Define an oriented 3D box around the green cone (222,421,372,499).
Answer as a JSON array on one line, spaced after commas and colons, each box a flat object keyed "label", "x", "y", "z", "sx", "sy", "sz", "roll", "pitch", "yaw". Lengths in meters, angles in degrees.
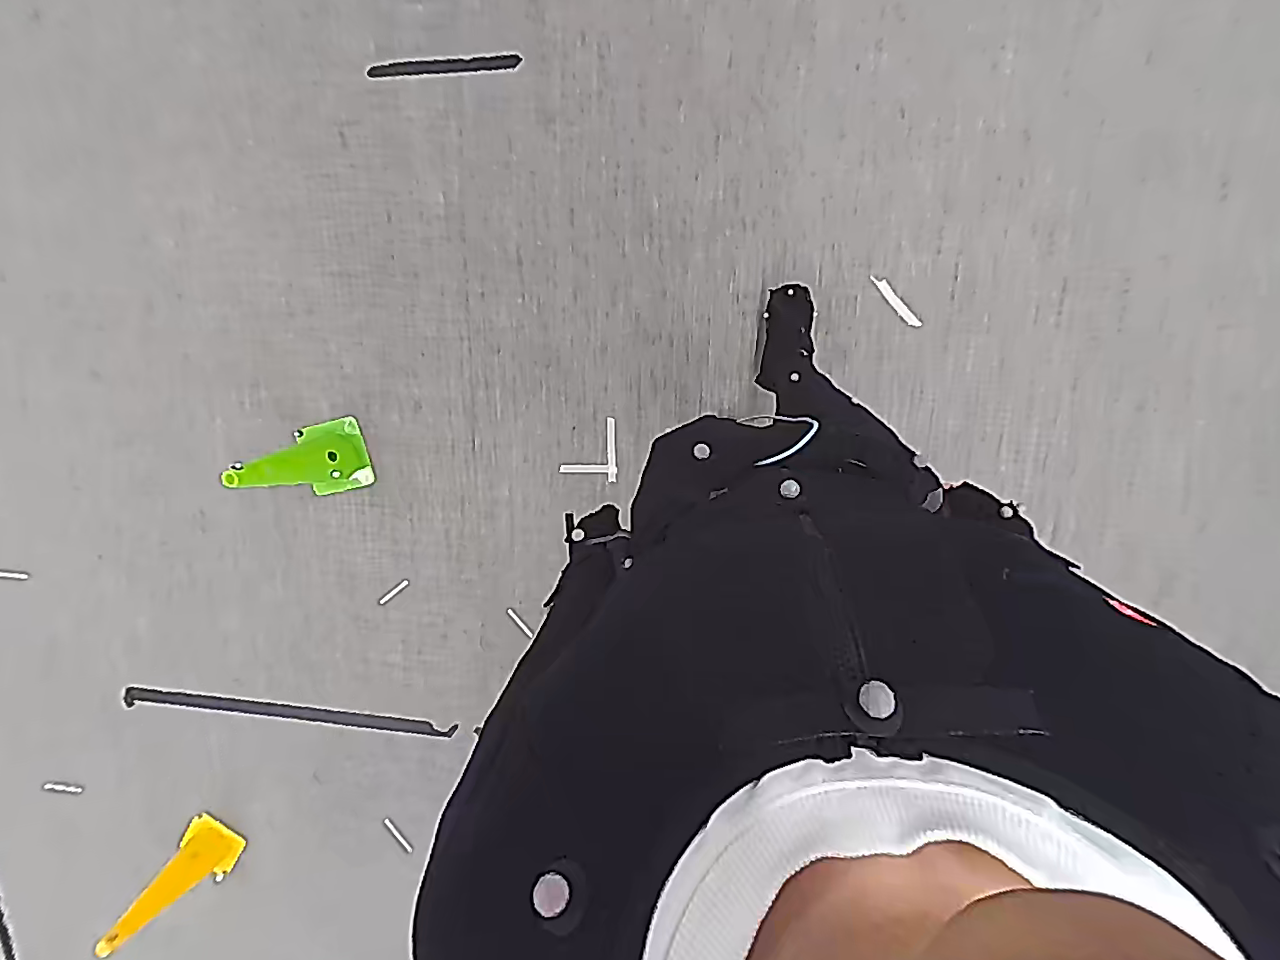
[{"label": "green cone", "x": -0.896, "y": -0.023, "z": 1.376, "sx": 0.202, "sy": 0.368, "sz": 0.200, "roll": -13, "pitch": 99, "yaw": 8}]
